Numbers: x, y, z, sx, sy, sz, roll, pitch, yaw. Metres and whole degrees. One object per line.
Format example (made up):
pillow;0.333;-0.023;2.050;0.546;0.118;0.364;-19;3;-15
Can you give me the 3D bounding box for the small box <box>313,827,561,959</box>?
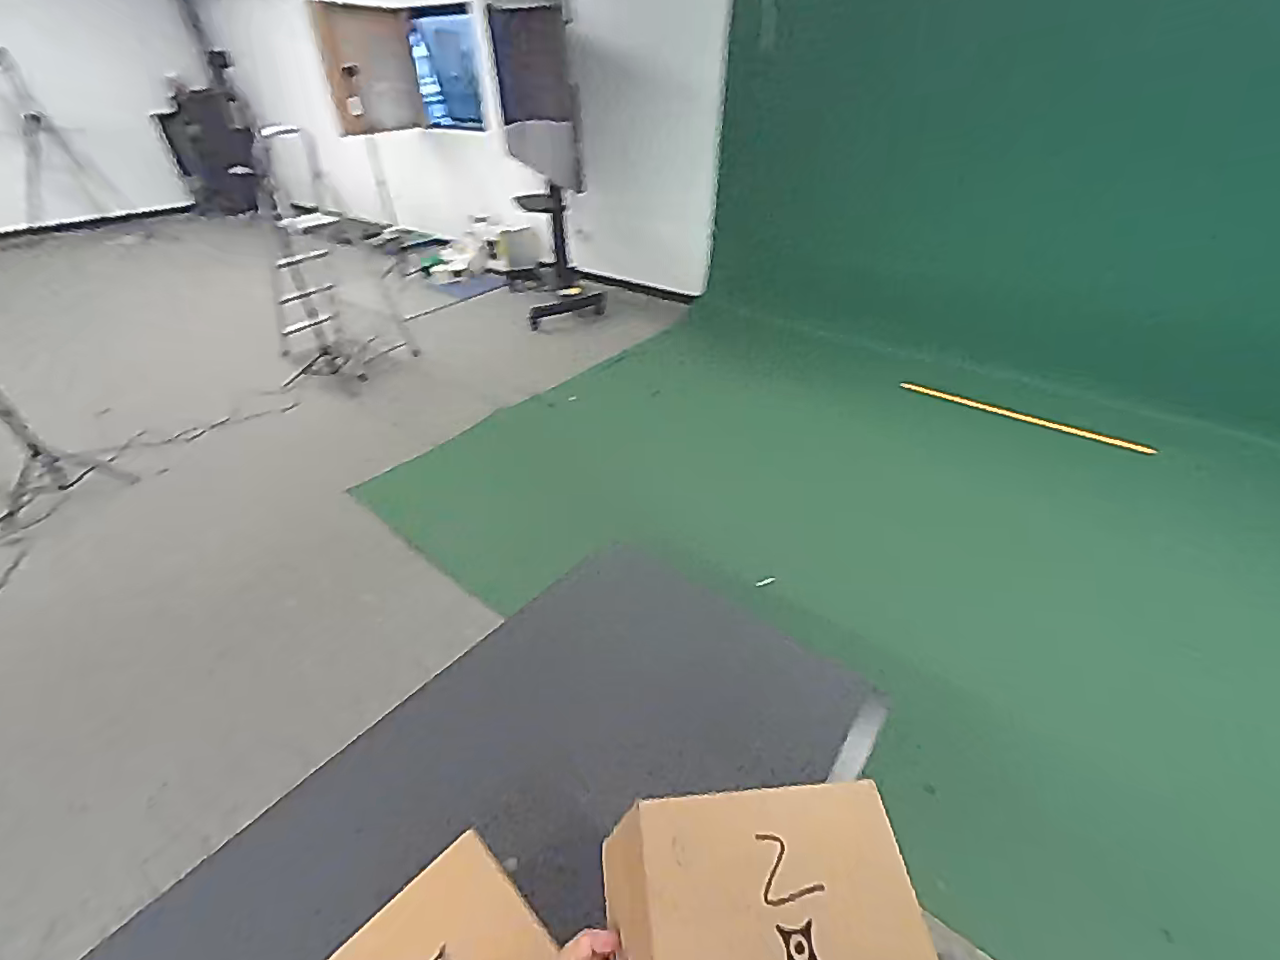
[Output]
small box;-0.176;0.491;0.511;0.179;0.176;0.168;29;45;34
